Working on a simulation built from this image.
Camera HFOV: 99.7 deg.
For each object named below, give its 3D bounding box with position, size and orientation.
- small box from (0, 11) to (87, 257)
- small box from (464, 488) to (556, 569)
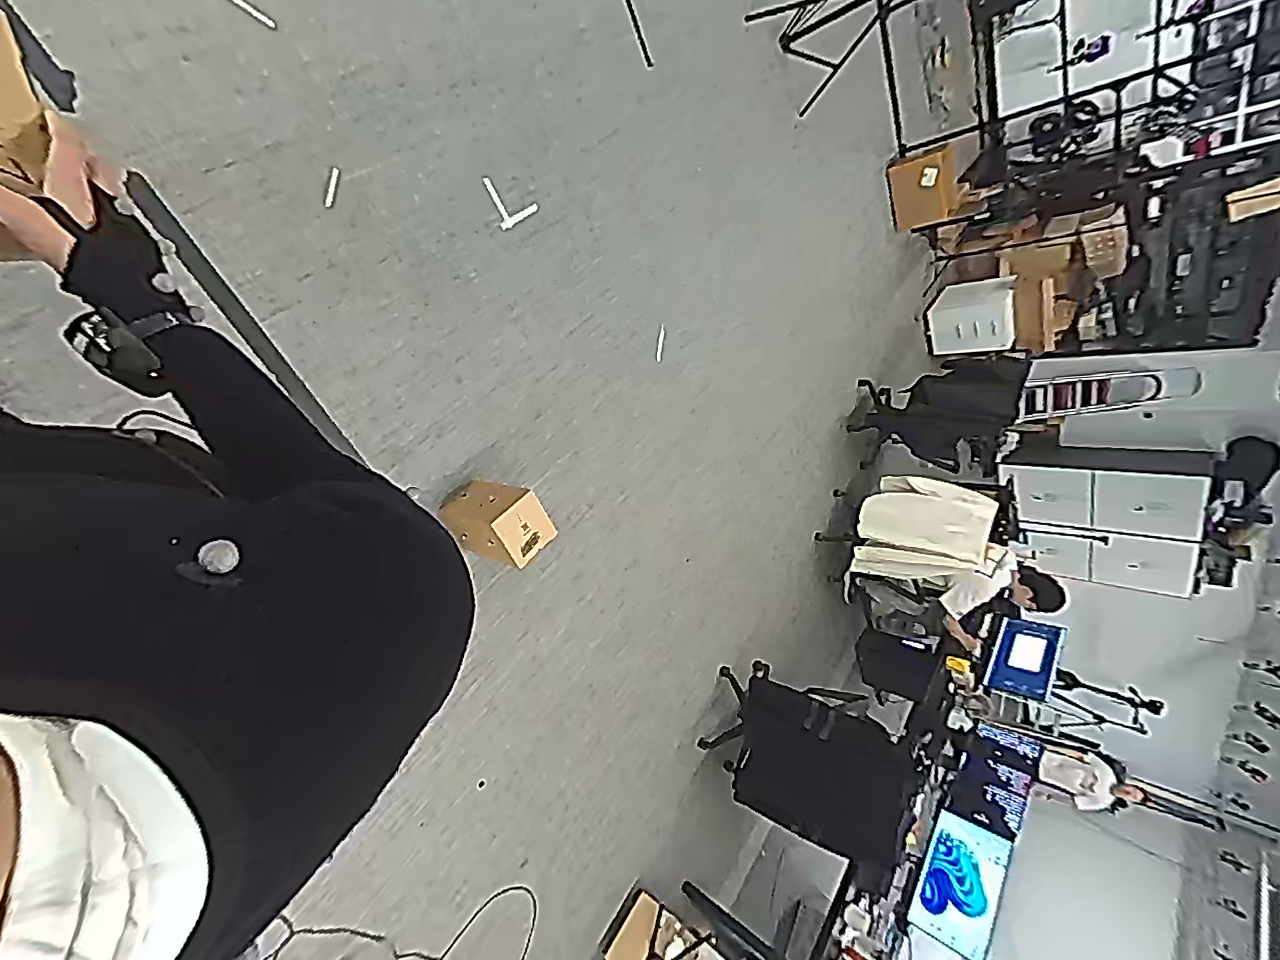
[{"bbox_3d":[-0.595,-0.269,0.428,0.179,0.176,0.168,-26,120,-44],"label":"small box"},{"bbox_3d":[-0.391,0.138,1.627,0.168,0.176,0.179,-45,123,-33],"label":"small box"}]
